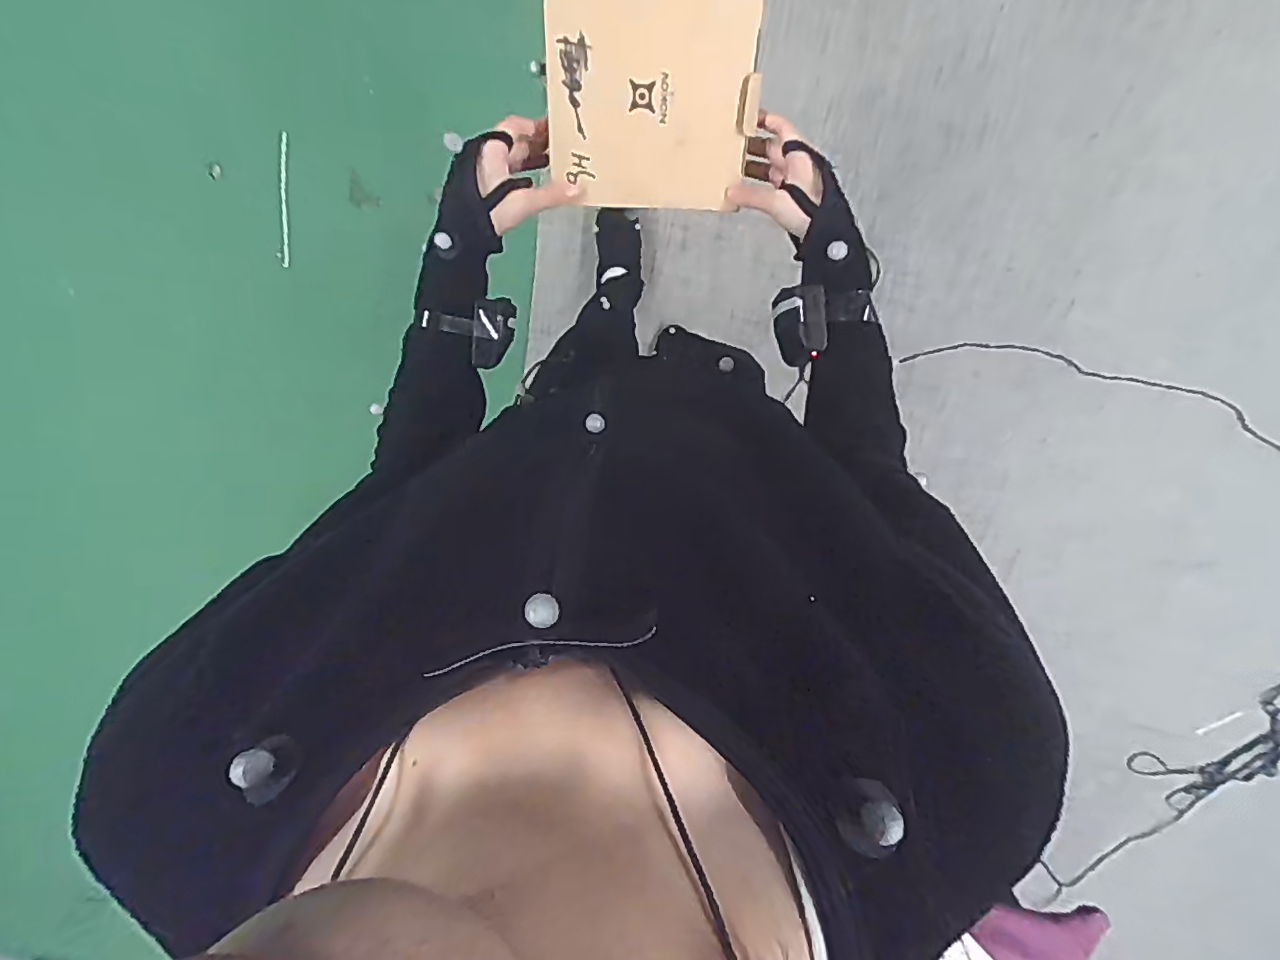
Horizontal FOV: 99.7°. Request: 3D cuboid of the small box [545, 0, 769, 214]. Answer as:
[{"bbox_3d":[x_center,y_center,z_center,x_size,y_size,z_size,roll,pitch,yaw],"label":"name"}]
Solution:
[{"bbox_3d":[0.000,-0.354,0.515,0.179,0.176,0.168,-1,118,-9],"label":"small box"}]
